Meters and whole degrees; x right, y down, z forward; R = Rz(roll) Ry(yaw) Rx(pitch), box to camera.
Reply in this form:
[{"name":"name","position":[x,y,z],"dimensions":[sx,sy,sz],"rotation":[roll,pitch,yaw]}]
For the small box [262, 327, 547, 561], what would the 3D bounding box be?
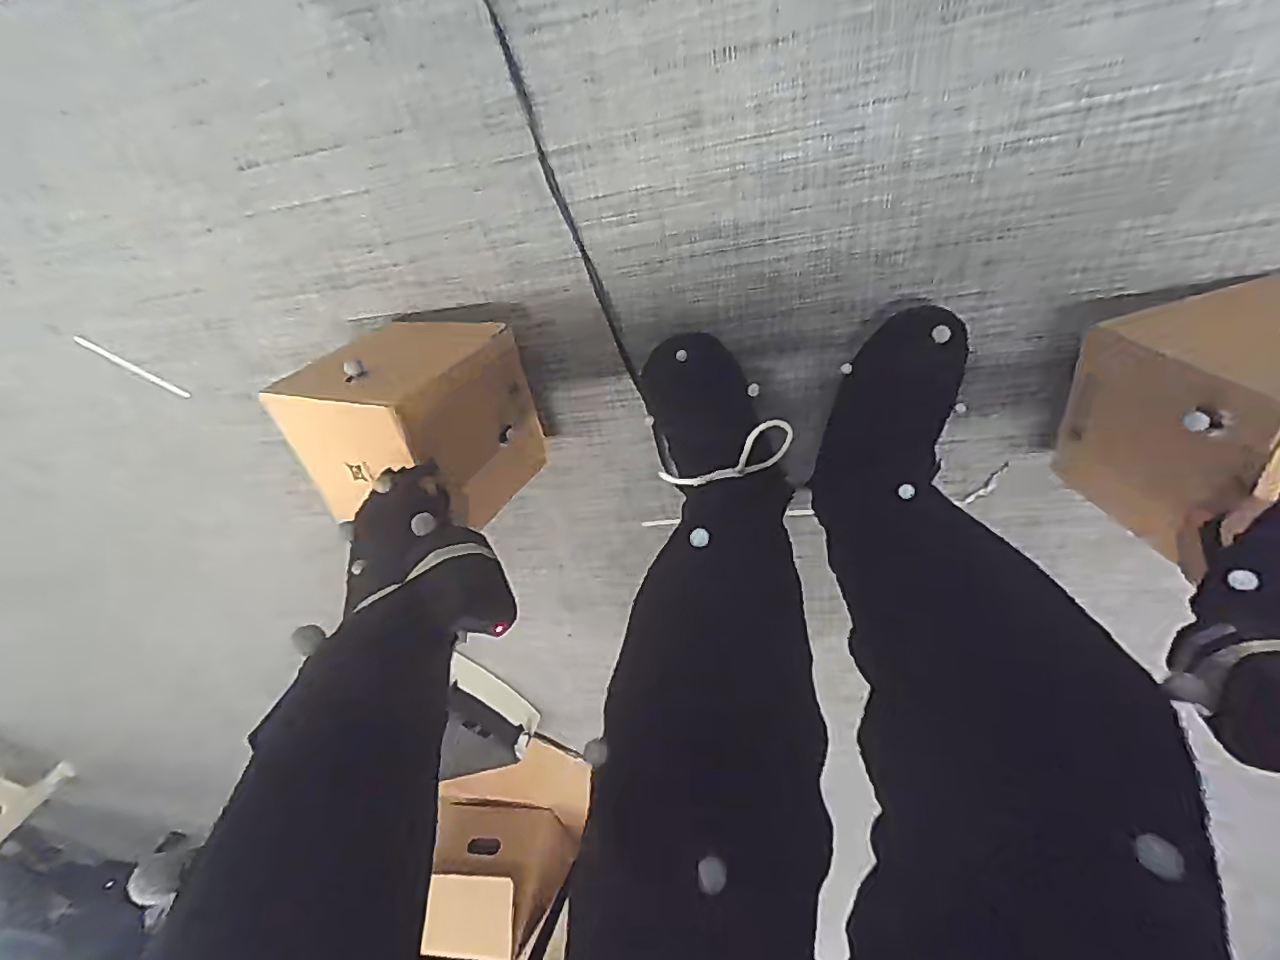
[{"name":"small box","position":[-0.228,-0.048,0.561],"dimensions":[0.179,0.176,0.168],"rotation":[11,132,28]}]
